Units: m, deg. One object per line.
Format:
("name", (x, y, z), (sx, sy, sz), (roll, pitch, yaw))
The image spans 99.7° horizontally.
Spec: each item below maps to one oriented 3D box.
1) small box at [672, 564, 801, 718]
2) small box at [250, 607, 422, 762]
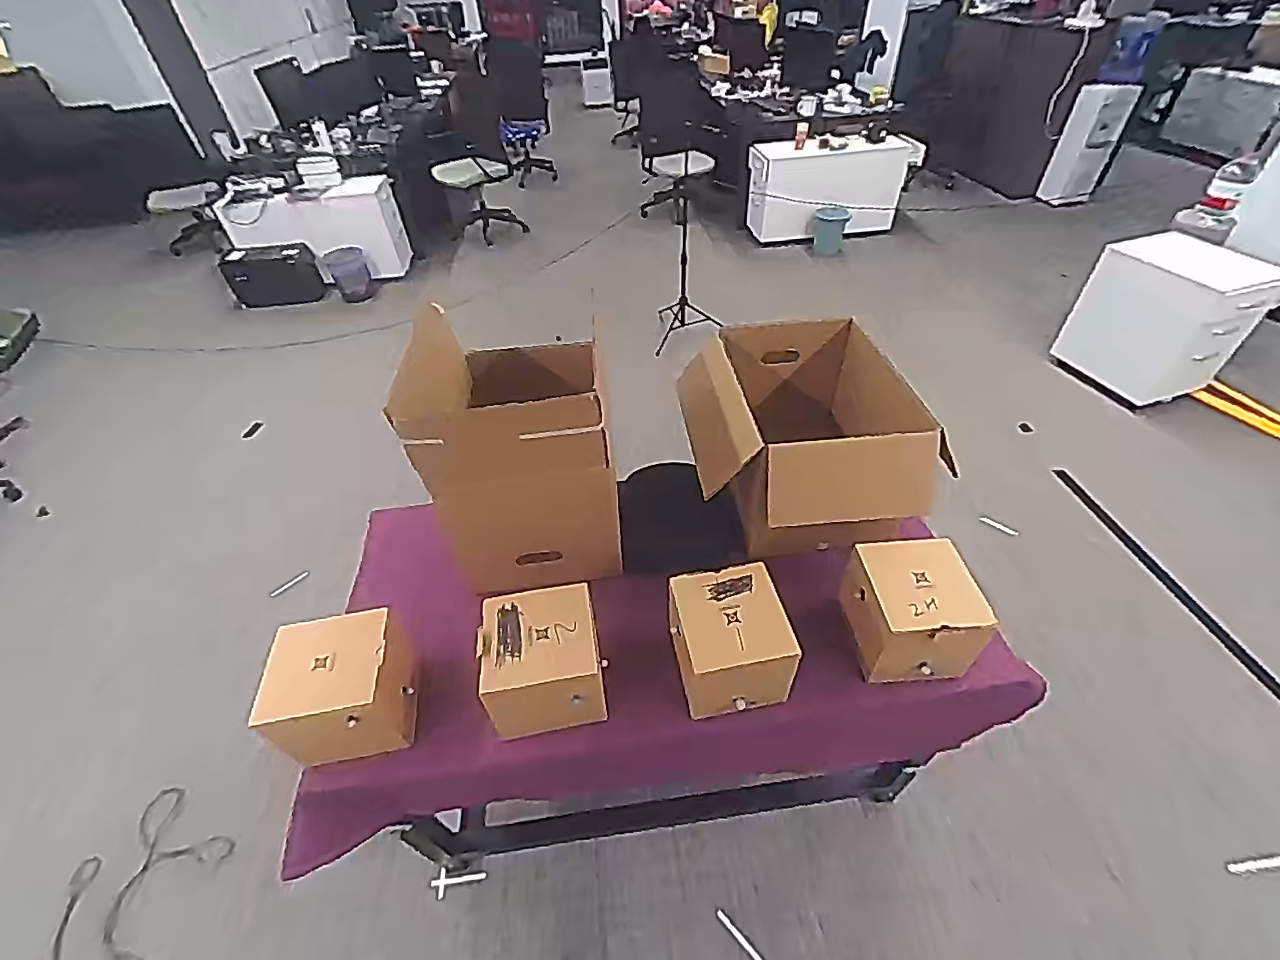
("small box", (0.148, 0.269, 0.905), (0.168, 0.176, 0.179), (-9, 45, -4))
("small box", (-0.476, 0.335, 0.879), (0.179, 0.176, 0.168), (-8, 44, -7))
